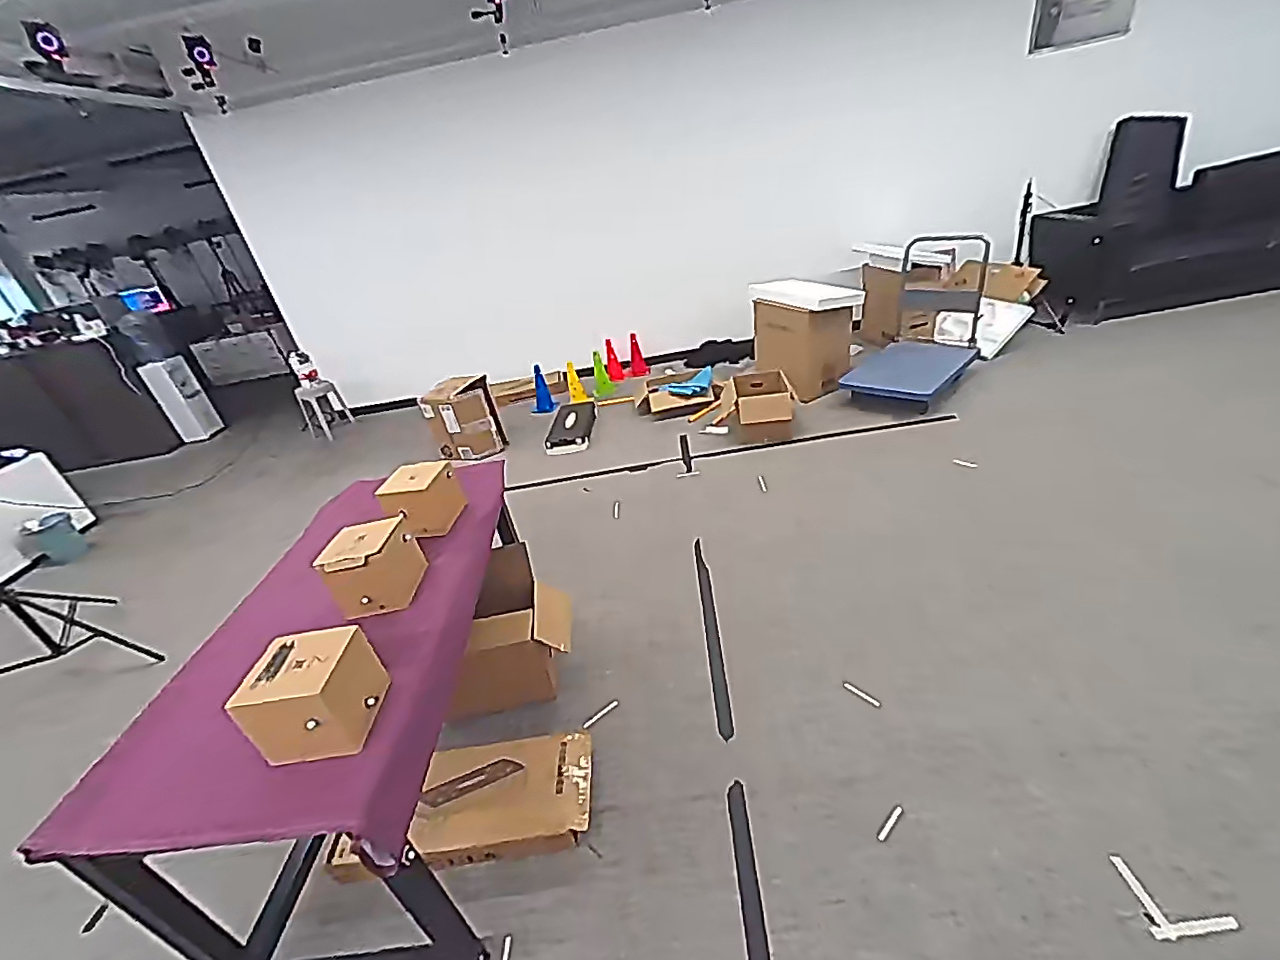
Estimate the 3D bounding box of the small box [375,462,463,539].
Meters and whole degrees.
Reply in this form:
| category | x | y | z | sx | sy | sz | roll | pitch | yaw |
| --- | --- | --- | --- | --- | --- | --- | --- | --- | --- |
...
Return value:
| category | x | y | z | sx | sy | sz | roll | pitch | yaw |
| --- | --- | --- | --- | --- | --- | --- | --- | --- | --- |
| small box | -0.664 | 0.067 | 1.650 | 0.168 | 0.176 | 0.179 | -7 | 29 | 9 |

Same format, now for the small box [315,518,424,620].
| category | x | y | z | sx | sy | sz | roll | pitch | yaw |
| --- | --- | --- | --- | --- | --- | --- | --- | --- | --- |
| small box | -0.673 | 0.225 | 1.373 | 0.168 | 0.176 | 0.179 | -12 | 29 | 4 |
